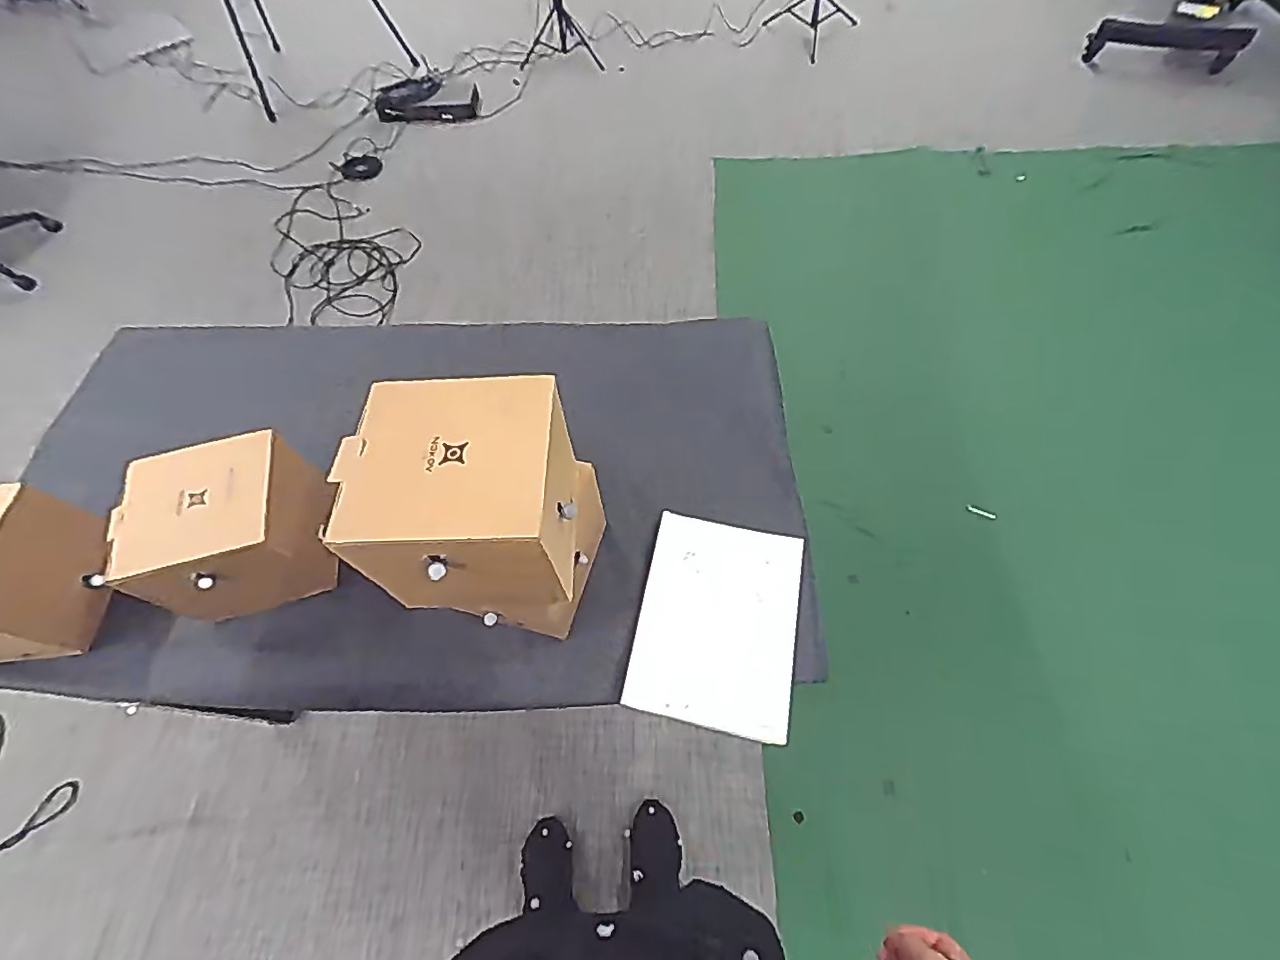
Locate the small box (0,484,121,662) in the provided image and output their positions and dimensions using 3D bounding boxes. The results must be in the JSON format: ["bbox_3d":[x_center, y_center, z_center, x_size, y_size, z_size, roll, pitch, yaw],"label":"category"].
[{"bbox_3d":[-0.826,0.126,0.699,0.168,0.176,0.179,-6,61,0],"label":"small box"}]

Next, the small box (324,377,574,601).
[{"bbox_3d":[-0.164,0.017,0.537,0.179,0.176,0.168,-2,60,2],"label":"small box"}]

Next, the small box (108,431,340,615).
[{"bbox_3d":[-0.529,0.065,0.719,0.179,0.176,0.168,-15,62,-6],"label":"small box"}]

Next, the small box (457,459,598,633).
[{"bbox_3d":[-0.158,0.074,0.691,0.168,0.176,0.179,12,63,10],"label":"small box"}]
